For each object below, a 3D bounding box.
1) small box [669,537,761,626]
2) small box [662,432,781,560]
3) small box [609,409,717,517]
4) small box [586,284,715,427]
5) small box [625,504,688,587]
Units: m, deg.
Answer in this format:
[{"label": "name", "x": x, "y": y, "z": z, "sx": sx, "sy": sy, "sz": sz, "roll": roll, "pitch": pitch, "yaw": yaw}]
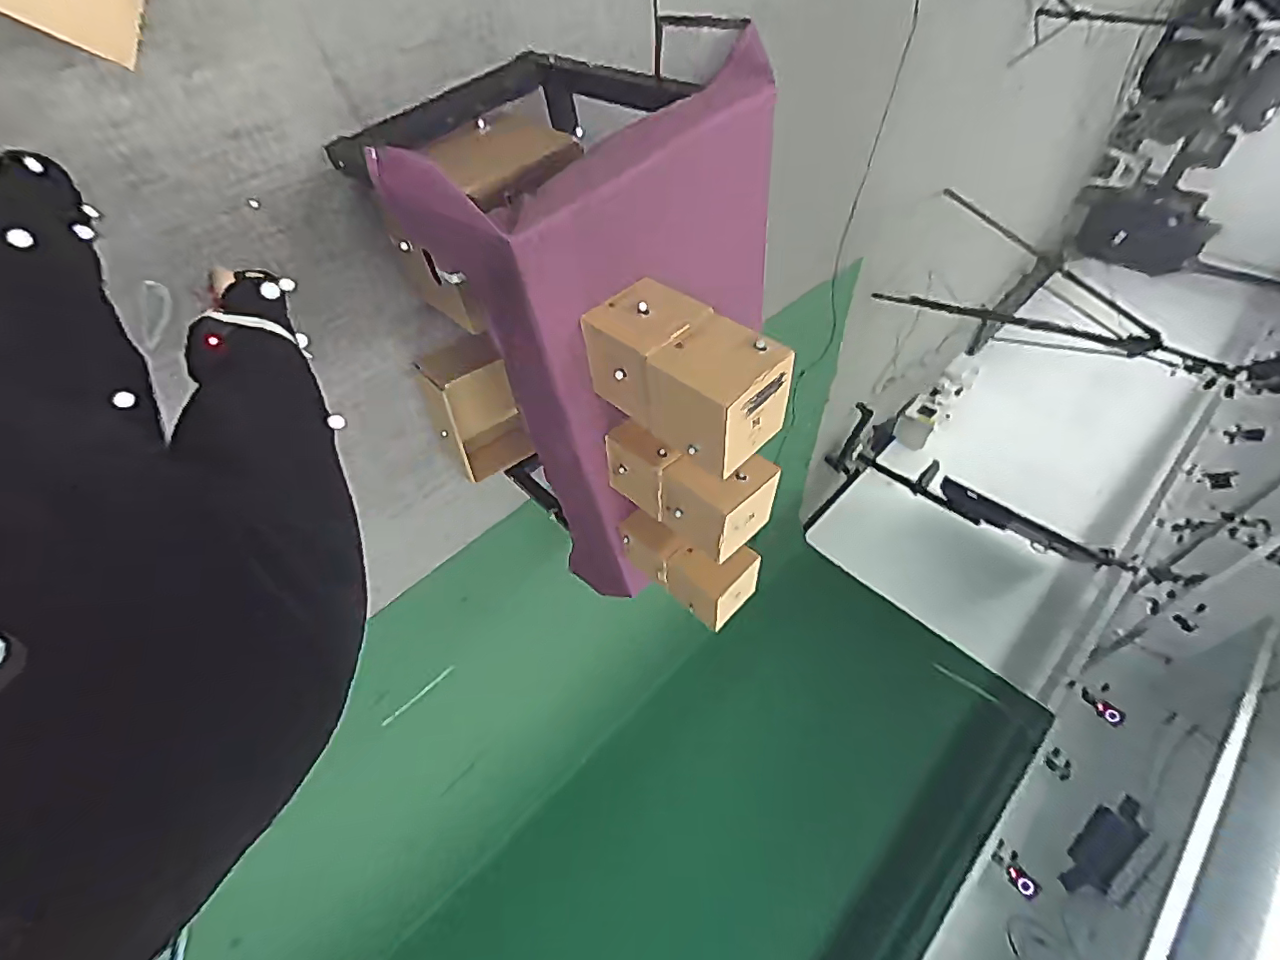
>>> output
[{"label": "small box", "x": 0.187, "y": 0.236, "z": 1.393, "sx": 0.168, "sy": 0.176, "sz": 0.179, "roll": -39, "pitch": 147, "yaw": -24}, {"label": "small box", "x": 0.168, "y": 0.027, "z": 1.146, "sx": 0.179, "sy": 0.176, "sz": 0.168, "roll": -35, "pitch": 145, "yaw": -27}, {"label": "small box", "x": 0.049, "y": -0.056, "z": 1.224, "sx": 0.179, "sy": 0.176, "sz": 0.168, "roll": -35, "pitch": 146, "yaw": -26}, {"label": "small box", "x": 0.020, "y": -0.236, "z": 0.989, "sx": 0.168, "sy": 0.176, "sz": 0.179, "roll": -38, "pitch": 147, "yaw": -22}, {"label": "small box", "x": 0.073, "y": 0.149, "z": 1.470, "sx": 0.179, "sy": 0.176, "sz": 0.168, "roll": -40, "pitch": 147, "yaw": -23}]
